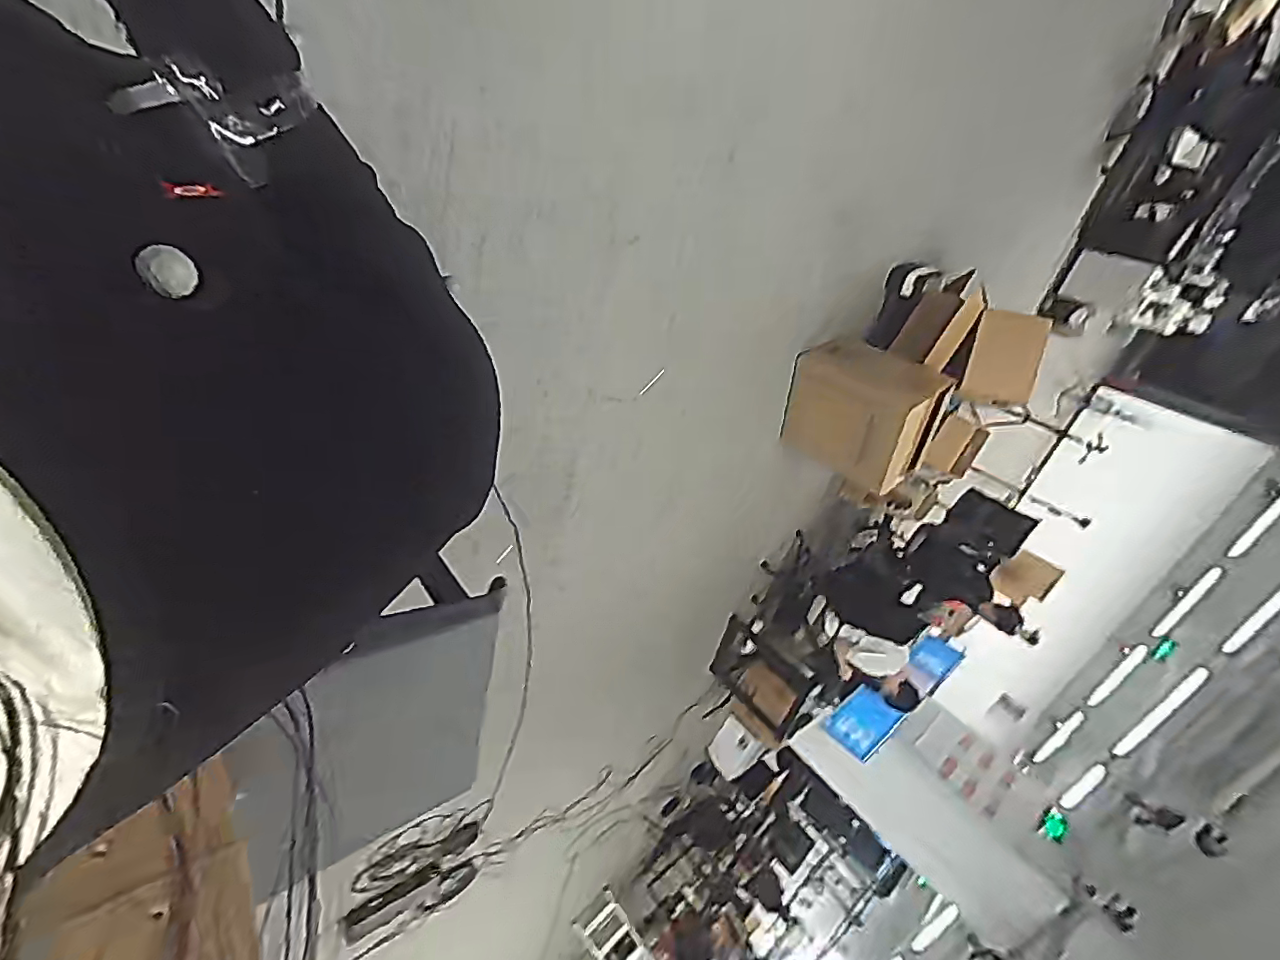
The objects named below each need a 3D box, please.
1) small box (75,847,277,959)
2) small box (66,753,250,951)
[{"bbox_3d":[-0.561,0.611,0.665,0.179,0.176,0.168,-11,129,-41],"label":"small box"},{"bbox_3d":[-0.667,0.535,0.764,0.179,0.176,0.168,-15,132,-41],"label":"small box"}]
